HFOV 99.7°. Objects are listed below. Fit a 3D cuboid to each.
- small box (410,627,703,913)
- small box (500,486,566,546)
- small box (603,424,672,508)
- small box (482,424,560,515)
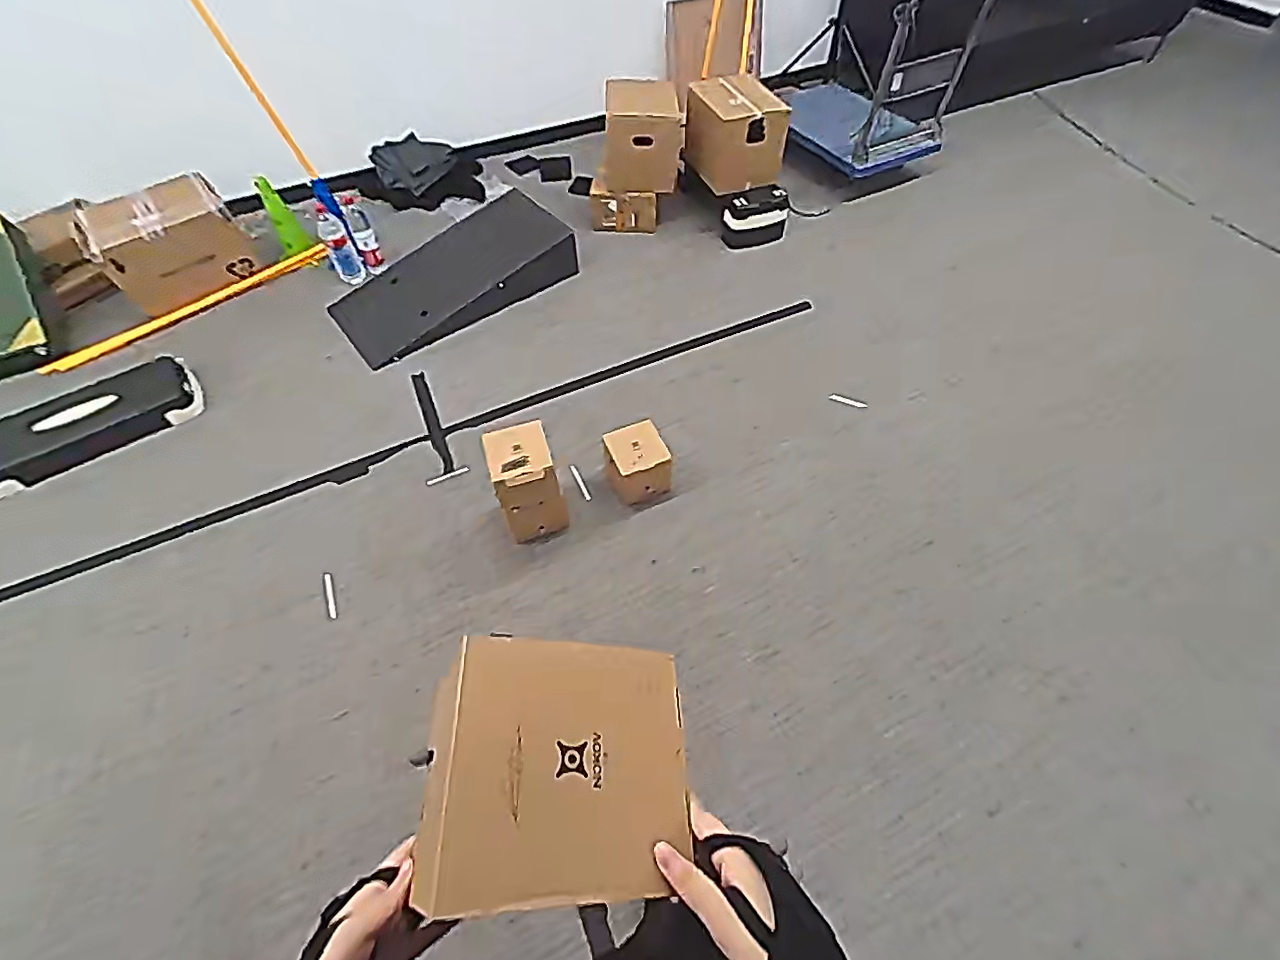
[{"bbox_3d":[-0.071,0.233,0.434,0.179,0.176,0.168,13,52,-21],"label":"small box"},{"bbox_3d":[-0.330,0.072,1.635,0.179,0.176,0.168,-19,56,-14],"label":"small box"},{"bbox_3d":[-0.010,-0.042,1.712,0.168,0.176,0.179,-20,57,-13],"label":"small box"},{"bbox_3d":[-0.325,-0.021,1.499,0.168,0.176,0.179,-15,55,-11],"label":"small box"}]
